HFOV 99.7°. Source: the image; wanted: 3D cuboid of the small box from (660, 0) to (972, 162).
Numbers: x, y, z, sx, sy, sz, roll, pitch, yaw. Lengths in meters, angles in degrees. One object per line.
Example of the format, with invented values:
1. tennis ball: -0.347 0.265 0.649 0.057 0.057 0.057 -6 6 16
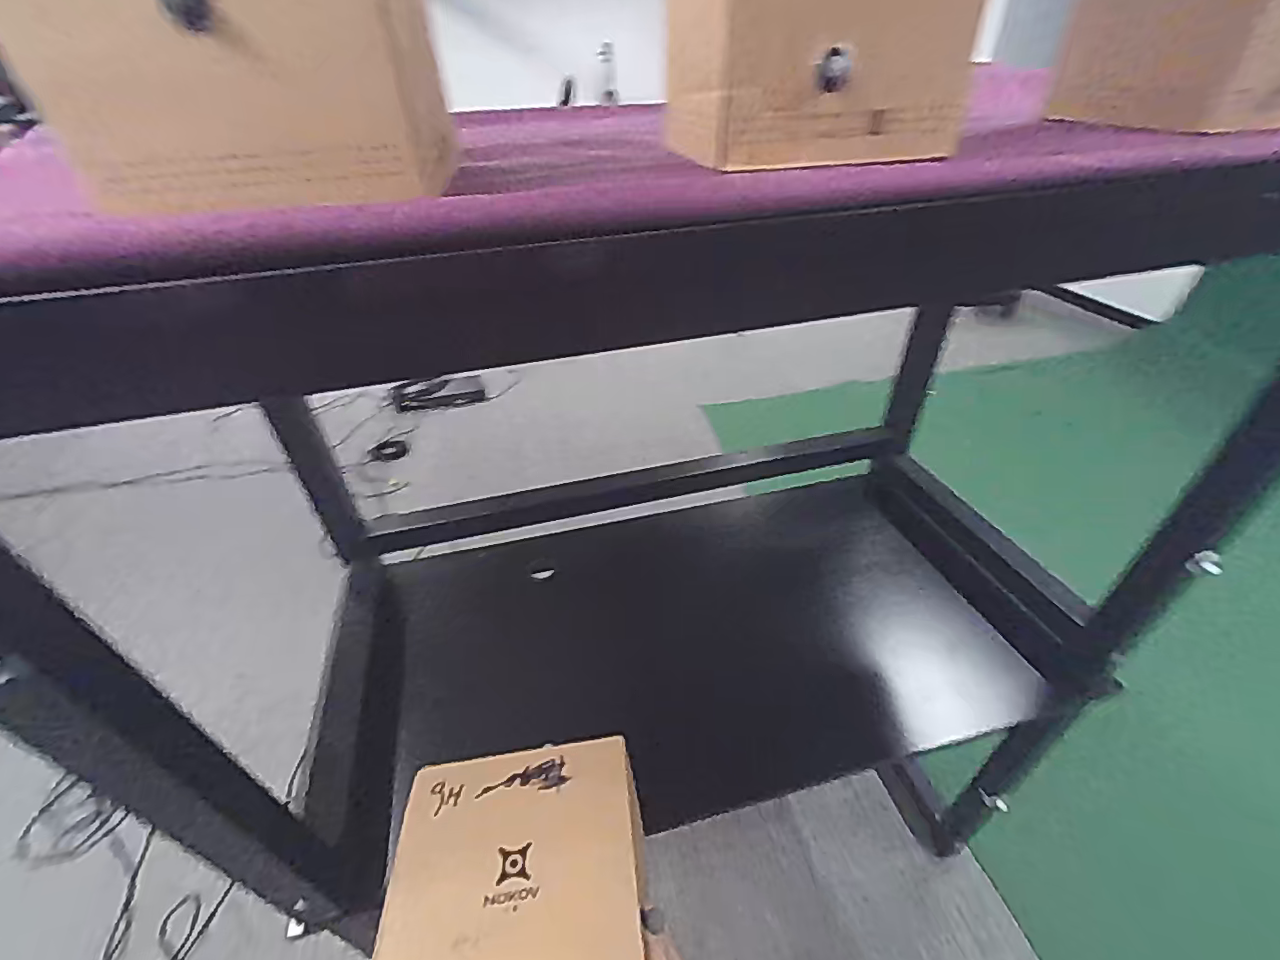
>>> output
1. small box: 0.108 -0.331 0.382 0.168 0.176 0.179 -9 38 -6

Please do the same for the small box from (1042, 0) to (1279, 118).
1. small box: 0.483 -0.402 0.437 0.168 0.176 0.179 -9 39 -5
